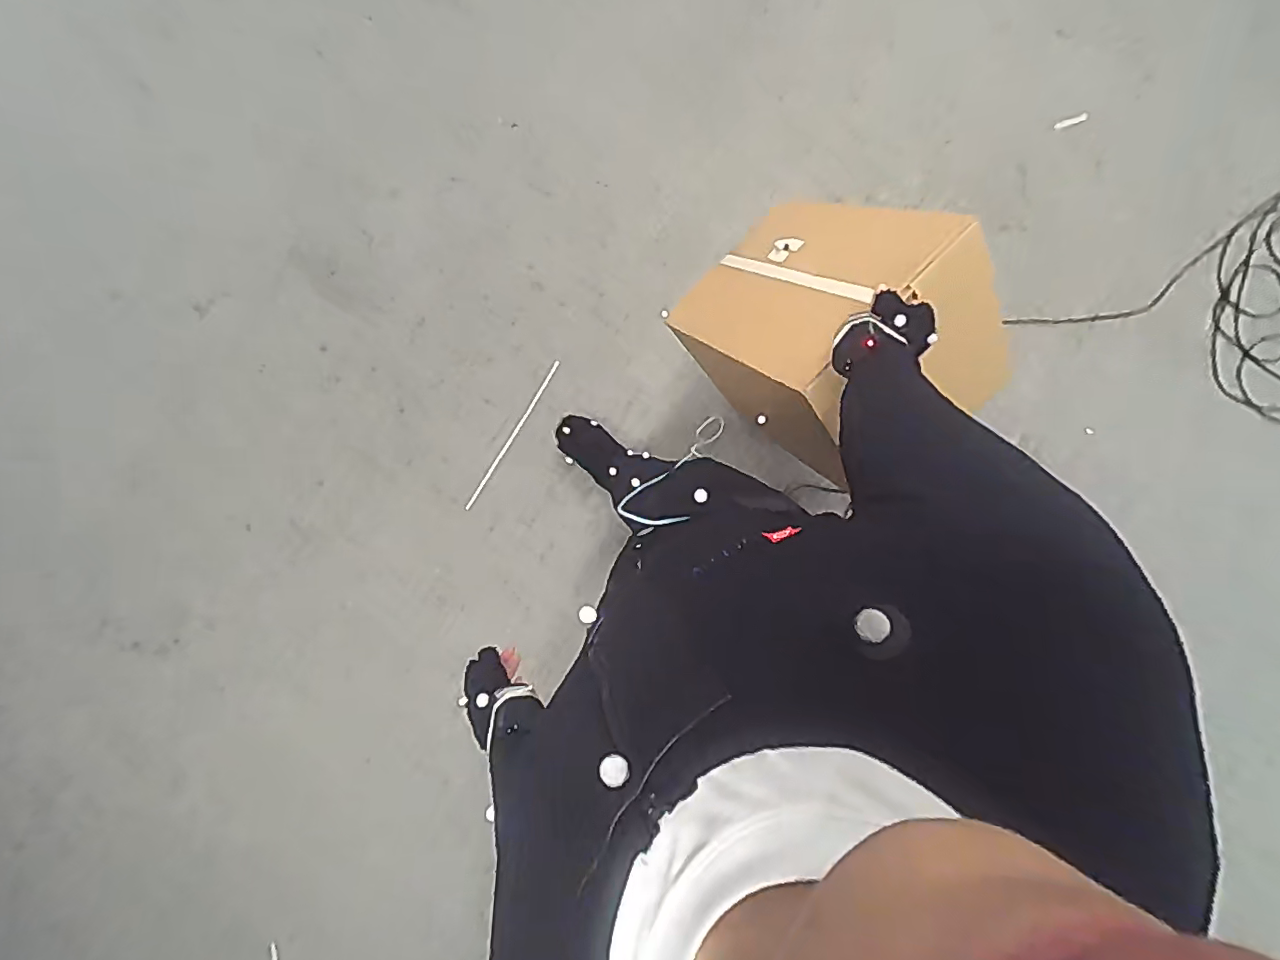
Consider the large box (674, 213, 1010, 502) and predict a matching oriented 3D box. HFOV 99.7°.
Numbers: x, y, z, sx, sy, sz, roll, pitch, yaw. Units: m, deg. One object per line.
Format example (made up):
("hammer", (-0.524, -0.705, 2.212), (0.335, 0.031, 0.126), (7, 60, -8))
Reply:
("large box", (0.337, -0.229, 0.954), (0.320, 0.408, 0.320), (-44, 126, 2))
